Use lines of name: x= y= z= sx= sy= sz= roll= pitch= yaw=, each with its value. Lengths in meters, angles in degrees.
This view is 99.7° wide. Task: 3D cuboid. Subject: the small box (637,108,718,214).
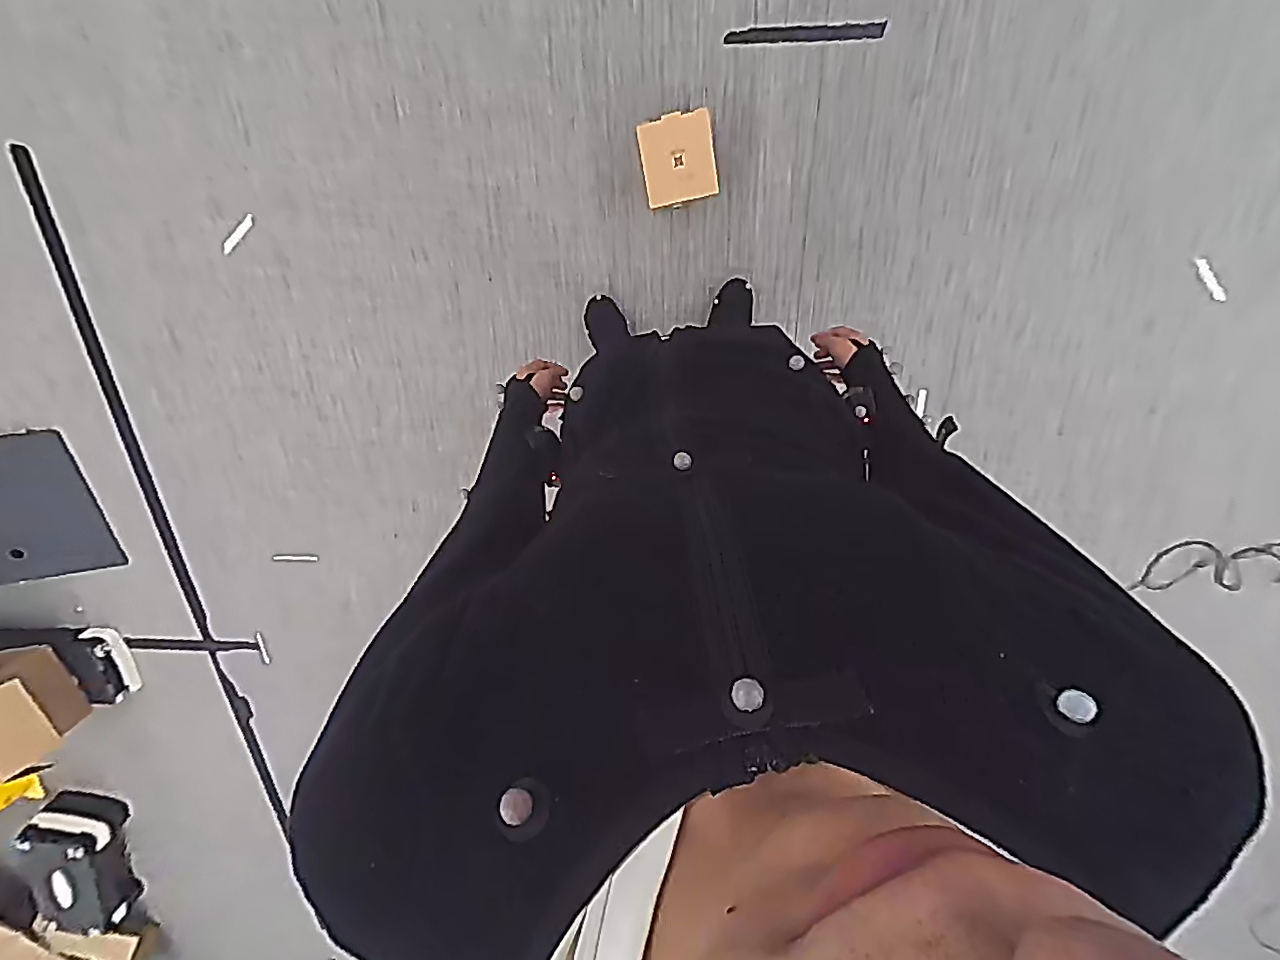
small box: x=0.088 y=-0.753 z=1.293 sx=0.168 sy=0.176 sz=0.179 roll=-9 pitch=112 yaw=6
